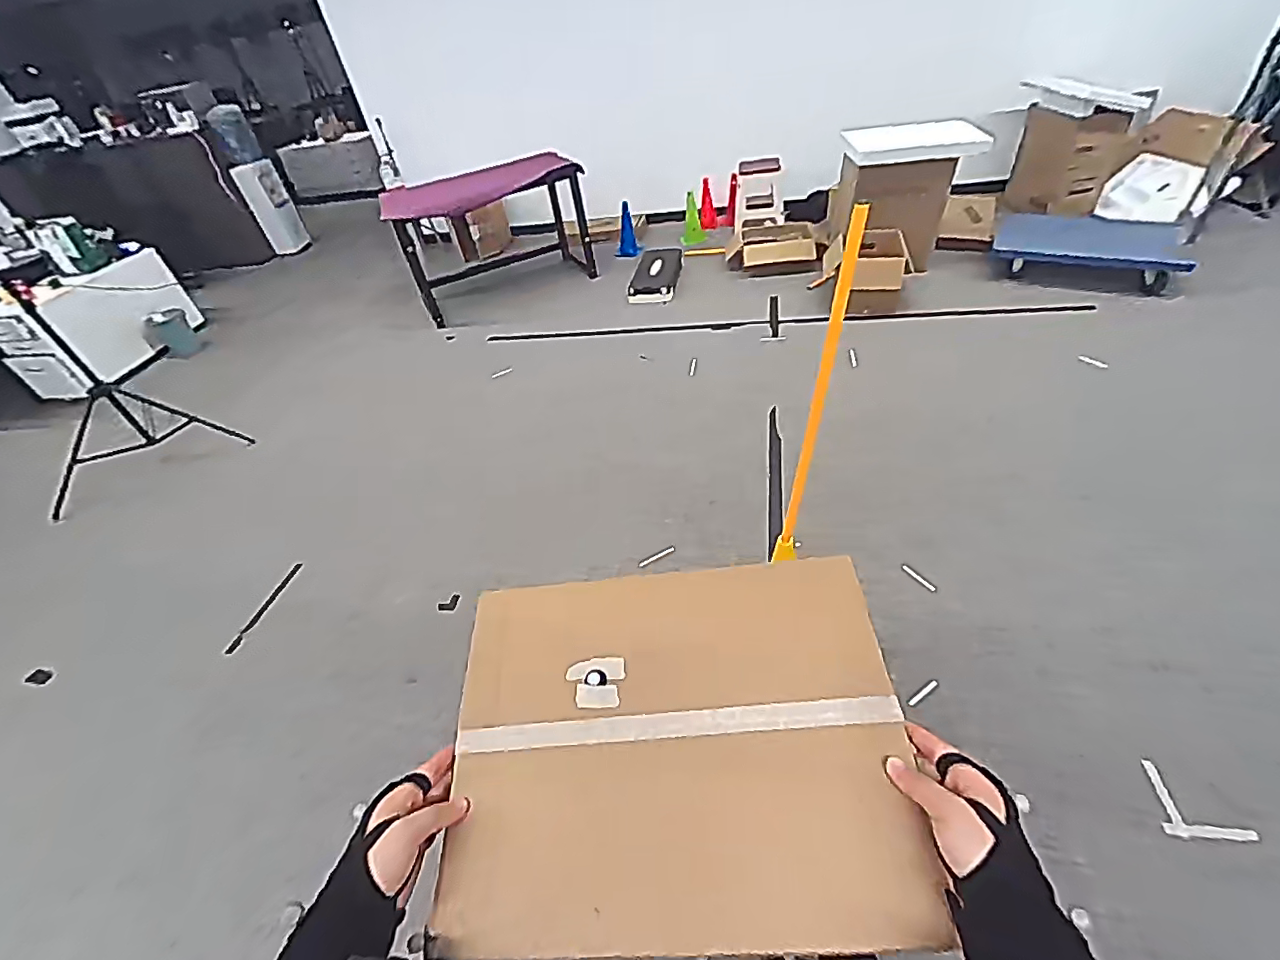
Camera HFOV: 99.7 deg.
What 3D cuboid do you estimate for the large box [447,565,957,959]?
[{"bbox_3d":[0.058,0.328,0.619,0.408,0.320,0.320,-8,50,6],"label":"large box"}]
